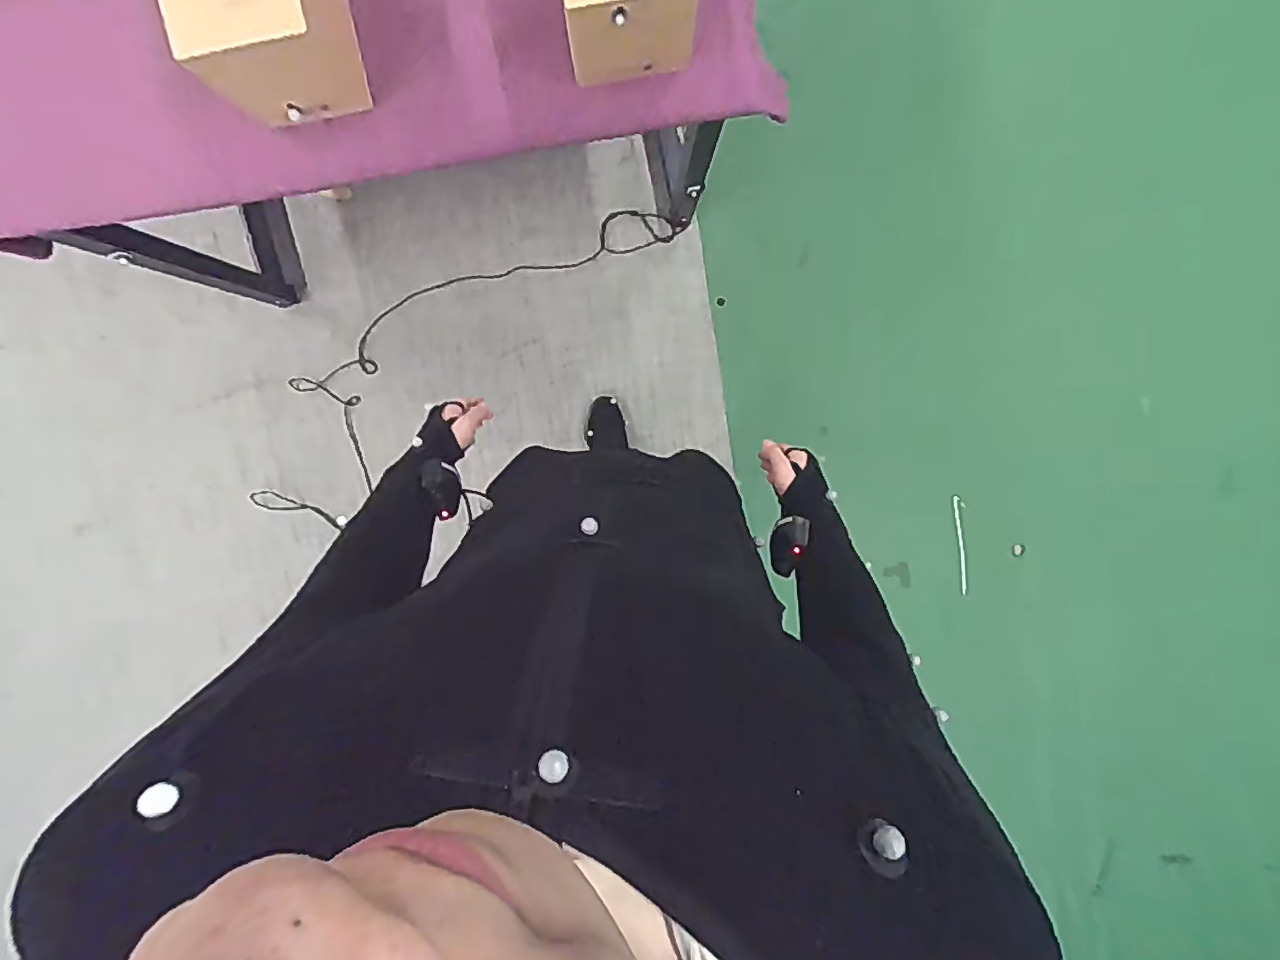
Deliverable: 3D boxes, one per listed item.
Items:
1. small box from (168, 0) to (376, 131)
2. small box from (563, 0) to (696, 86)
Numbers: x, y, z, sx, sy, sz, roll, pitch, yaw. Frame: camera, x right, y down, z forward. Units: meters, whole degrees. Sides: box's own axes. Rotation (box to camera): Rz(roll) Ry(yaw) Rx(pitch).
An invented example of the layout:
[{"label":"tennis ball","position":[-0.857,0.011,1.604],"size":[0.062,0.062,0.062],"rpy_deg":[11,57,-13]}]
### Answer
[{"label":"small box","position":[-0.489,-0.614,0.726],"size":[0.168,0.176,0.179],"rpy_deg":[-10,97,2]},{"label":"small box","position":[-0.024,-0.674,0.716],"size":[0.168,0.176,0.179],"rpy_deg":[-9,99,2]}]
